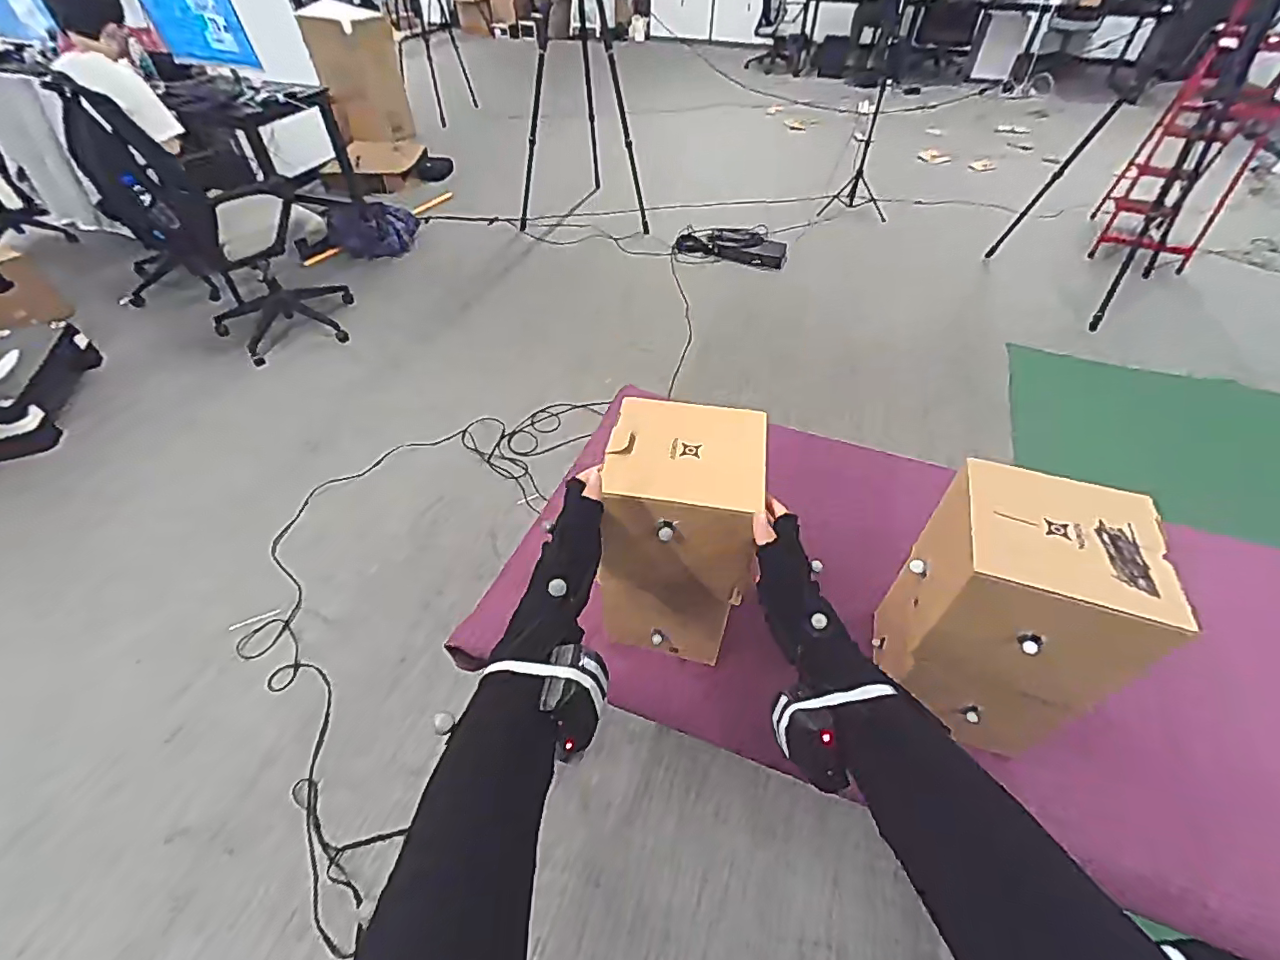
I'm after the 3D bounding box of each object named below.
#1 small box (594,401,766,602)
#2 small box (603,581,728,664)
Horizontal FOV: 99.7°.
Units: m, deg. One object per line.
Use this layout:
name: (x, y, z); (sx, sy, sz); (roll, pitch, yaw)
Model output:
small box: (0.049, 0.029, 0.658); (0.179, 0.176, 0.168); (8, 46, 6)
small box: (0.045, 0.134, 0.783); (0.168, 0.176, 0.179); (12, 47, 9)
